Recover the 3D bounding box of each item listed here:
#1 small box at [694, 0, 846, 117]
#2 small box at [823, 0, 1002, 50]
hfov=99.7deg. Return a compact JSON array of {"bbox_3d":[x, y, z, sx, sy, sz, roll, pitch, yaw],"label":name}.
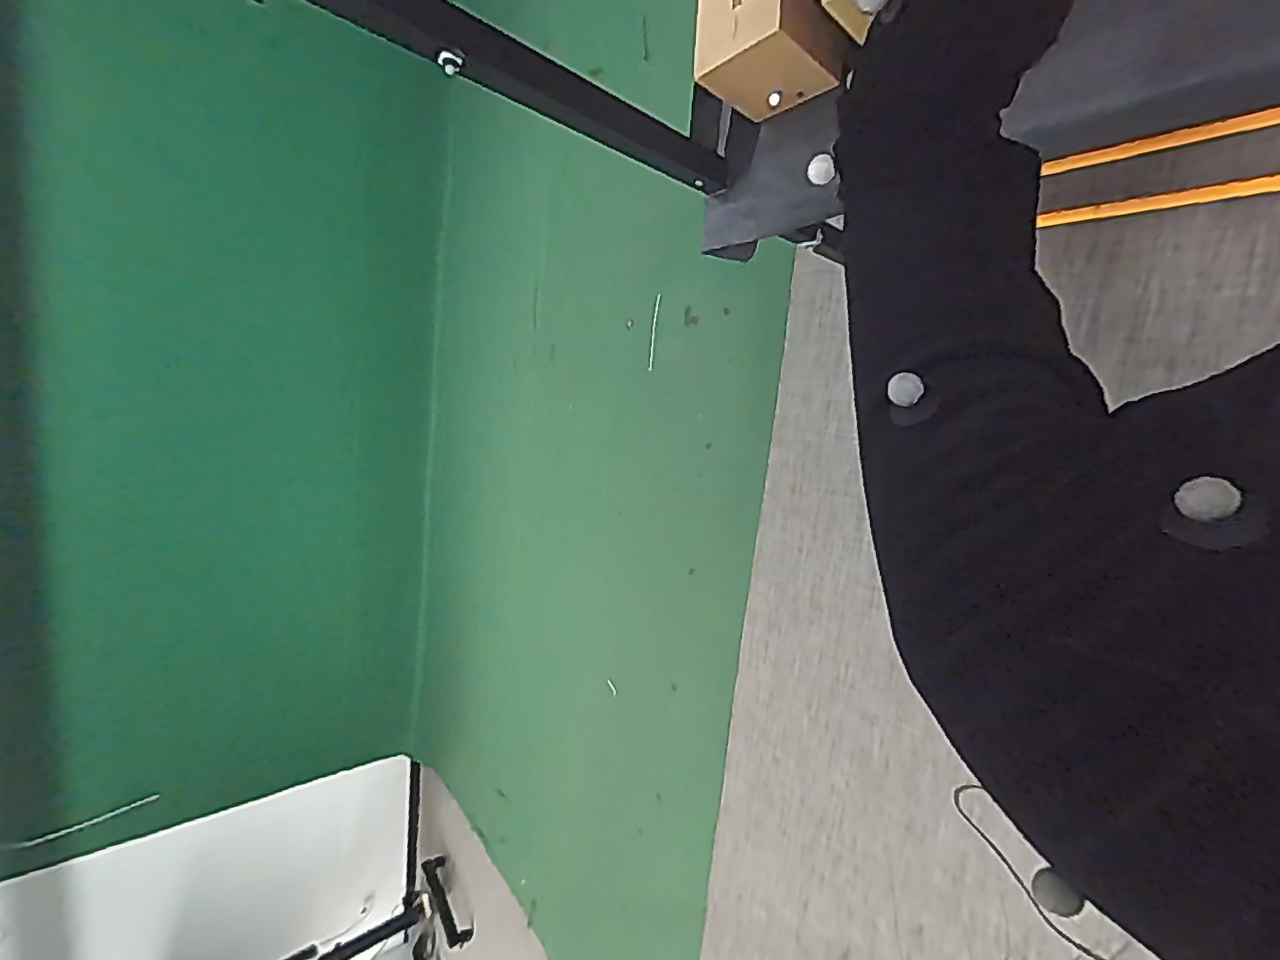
[{"bbox_3d":[0.207,-0.717,0.844,0.168,0.176,0.179,11,99,49],"label":"small box"},{"bbox_3d":[0.356,-0.686,0.675,0.168,0.176,0.179,14,101,48],"label":"small box"}]
